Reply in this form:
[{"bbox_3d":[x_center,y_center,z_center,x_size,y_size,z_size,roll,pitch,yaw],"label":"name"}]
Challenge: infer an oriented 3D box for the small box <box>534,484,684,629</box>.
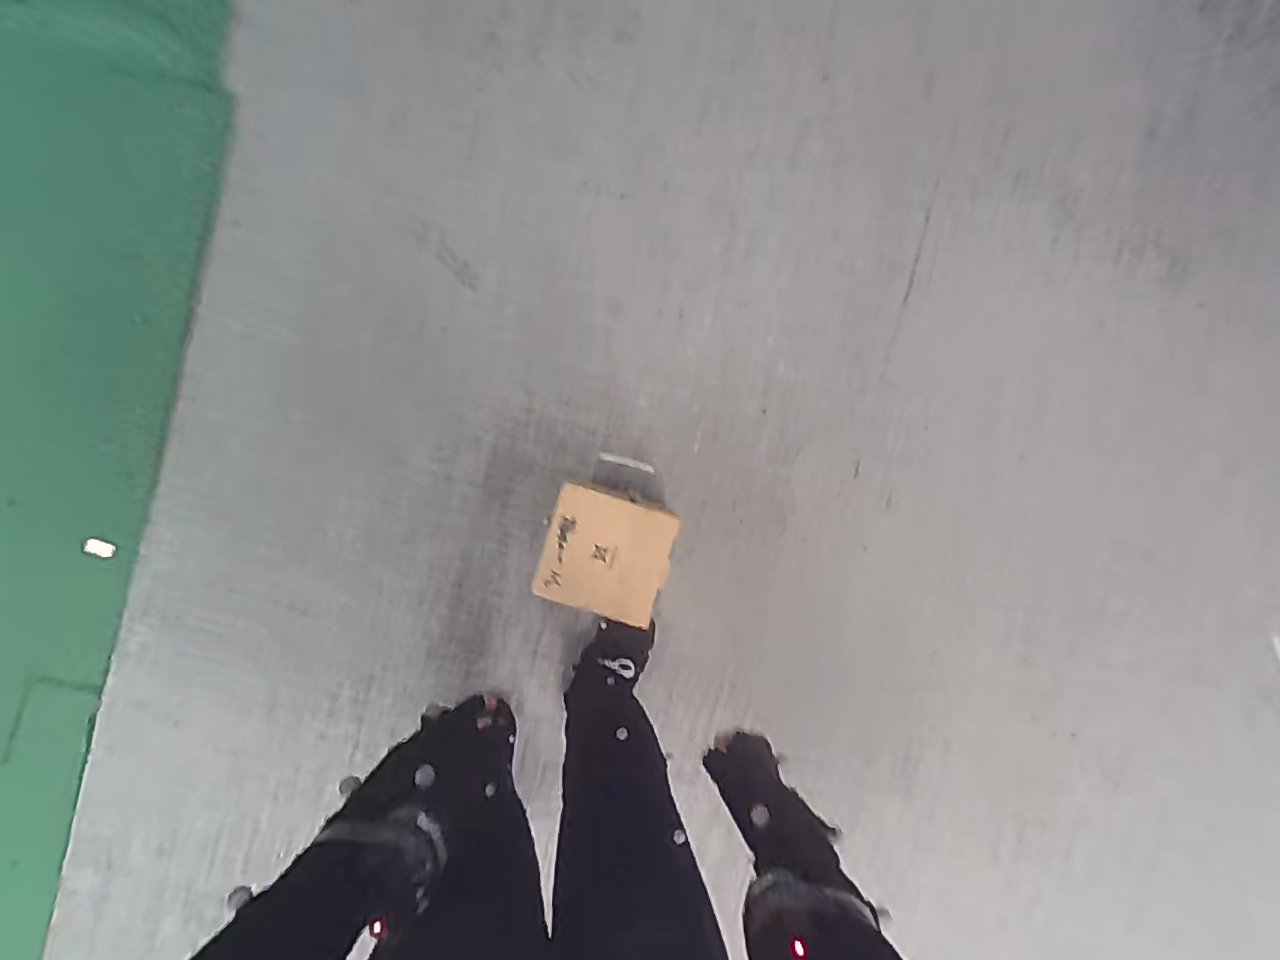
[{"bbox_3d":[-0.046,0.107,0.845,0.179,0.176,0.168,19,92,-2],"label":"small box"}]
